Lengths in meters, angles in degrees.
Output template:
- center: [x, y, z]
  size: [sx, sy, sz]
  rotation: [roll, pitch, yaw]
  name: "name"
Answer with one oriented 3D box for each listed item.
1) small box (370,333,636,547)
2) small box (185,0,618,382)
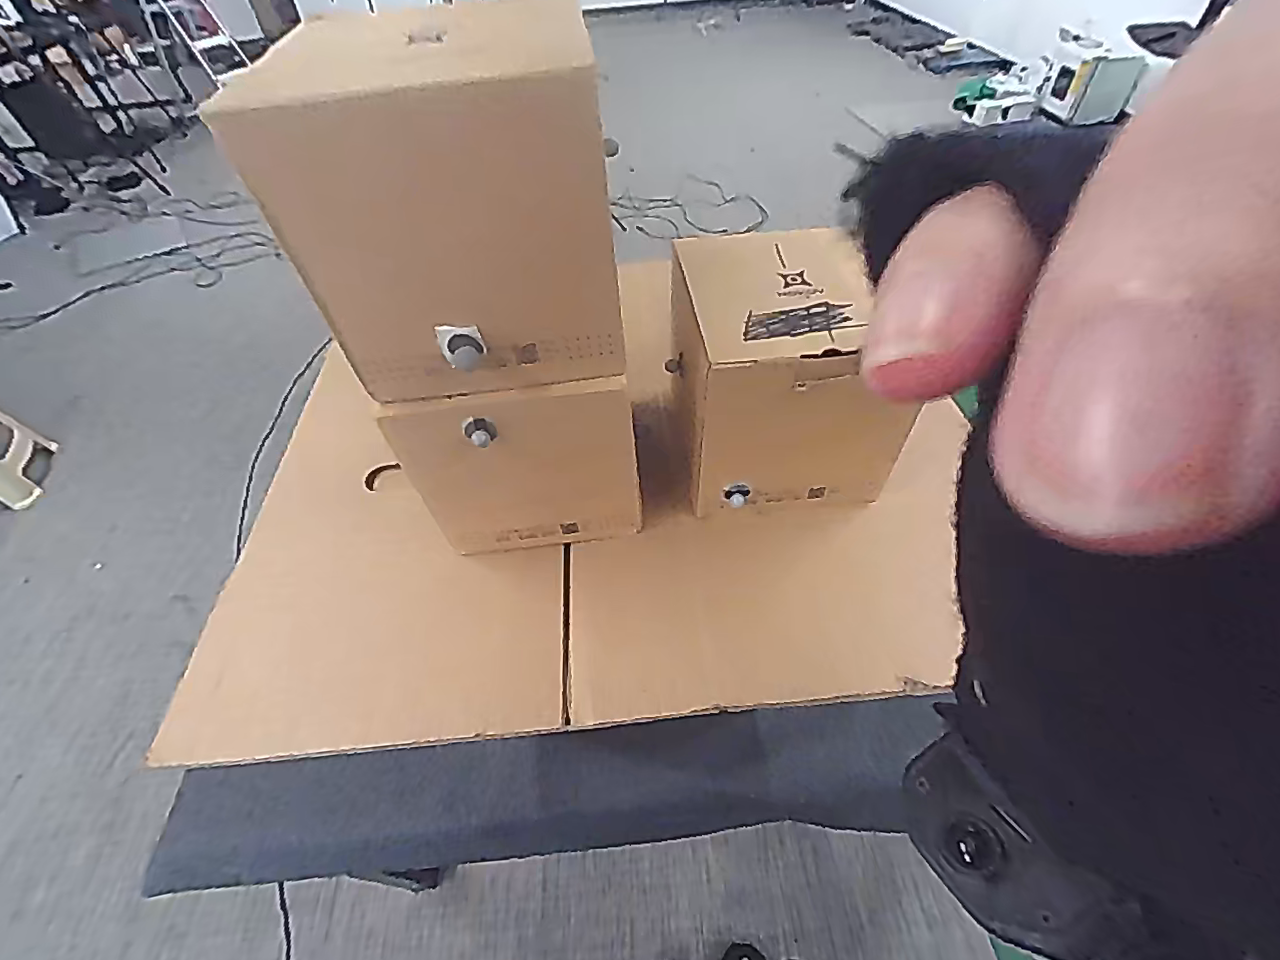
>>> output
- center: [-0.095, -0.065, 0.464]
  size: [0.168, 0.176, 0.179]
  rotation: [-7, 50, 0]
  name: "small box"
- center: [-0.108, -0.185, 0.332]
  size: [0.168, 0.176, 0.179]
  rotation: [-9, 52, -2]
  name: "small box"
